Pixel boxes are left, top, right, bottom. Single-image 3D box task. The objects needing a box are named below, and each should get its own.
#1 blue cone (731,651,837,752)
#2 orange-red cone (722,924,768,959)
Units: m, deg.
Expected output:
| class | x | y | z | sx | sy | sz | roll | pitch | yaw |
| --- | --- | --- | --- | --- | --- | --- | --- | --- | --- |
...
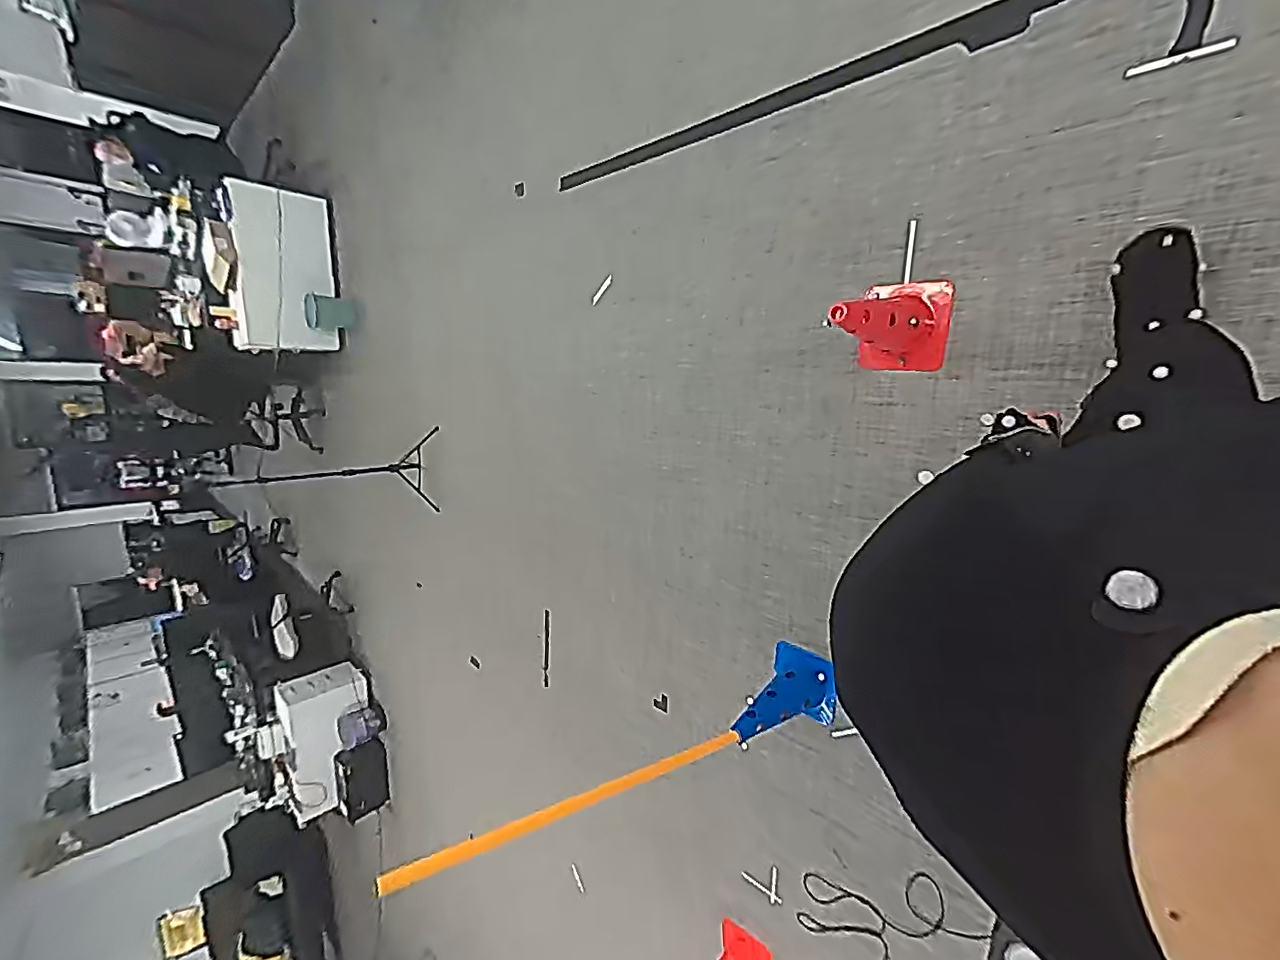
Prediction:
| class | x | y | z | sx | sy | sz | roll | pitch | yaw |
| --- | --- | --- | --- | --- | --- | --- | --- | --- | --- |
| blue cone | 0.371 | 0.631 | 1.479 | 0.193 | 0.380 | 0.192 | 16 | 108 | 43 |
| orange-red cone | 0.250 | 1.699 | 1.758 | 0.199 | 0.360 | 0.198 | 5 | 101 | 43 |
